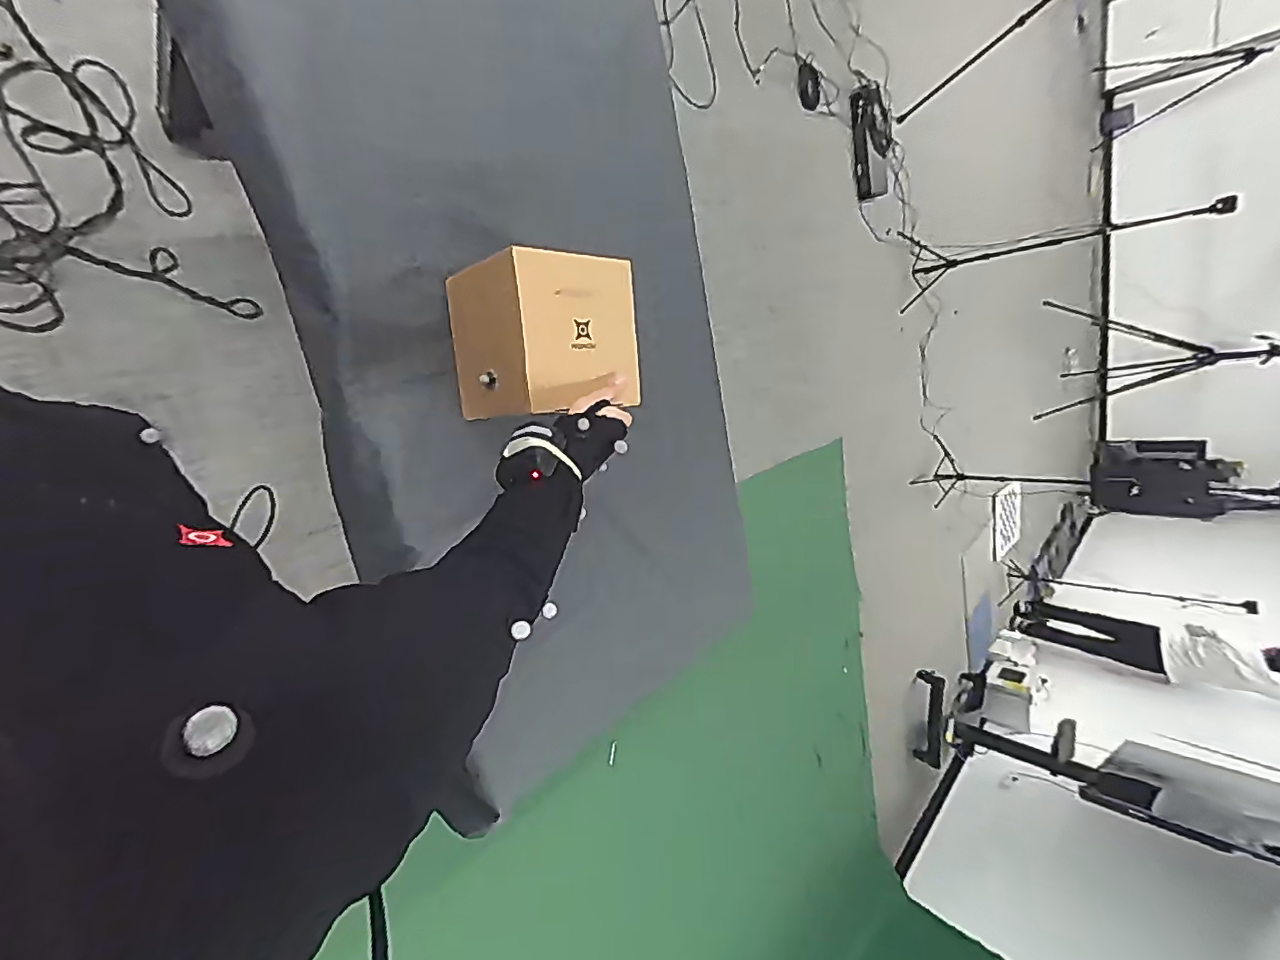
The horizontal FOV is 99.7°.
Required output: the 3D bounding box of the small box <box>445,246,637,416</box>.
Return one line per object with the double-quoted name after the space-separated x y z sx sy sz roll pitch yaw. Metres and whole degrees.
-0.125 -0.173 0.677 0.168 0.176 0.179 -14 102 -43 "small box"
